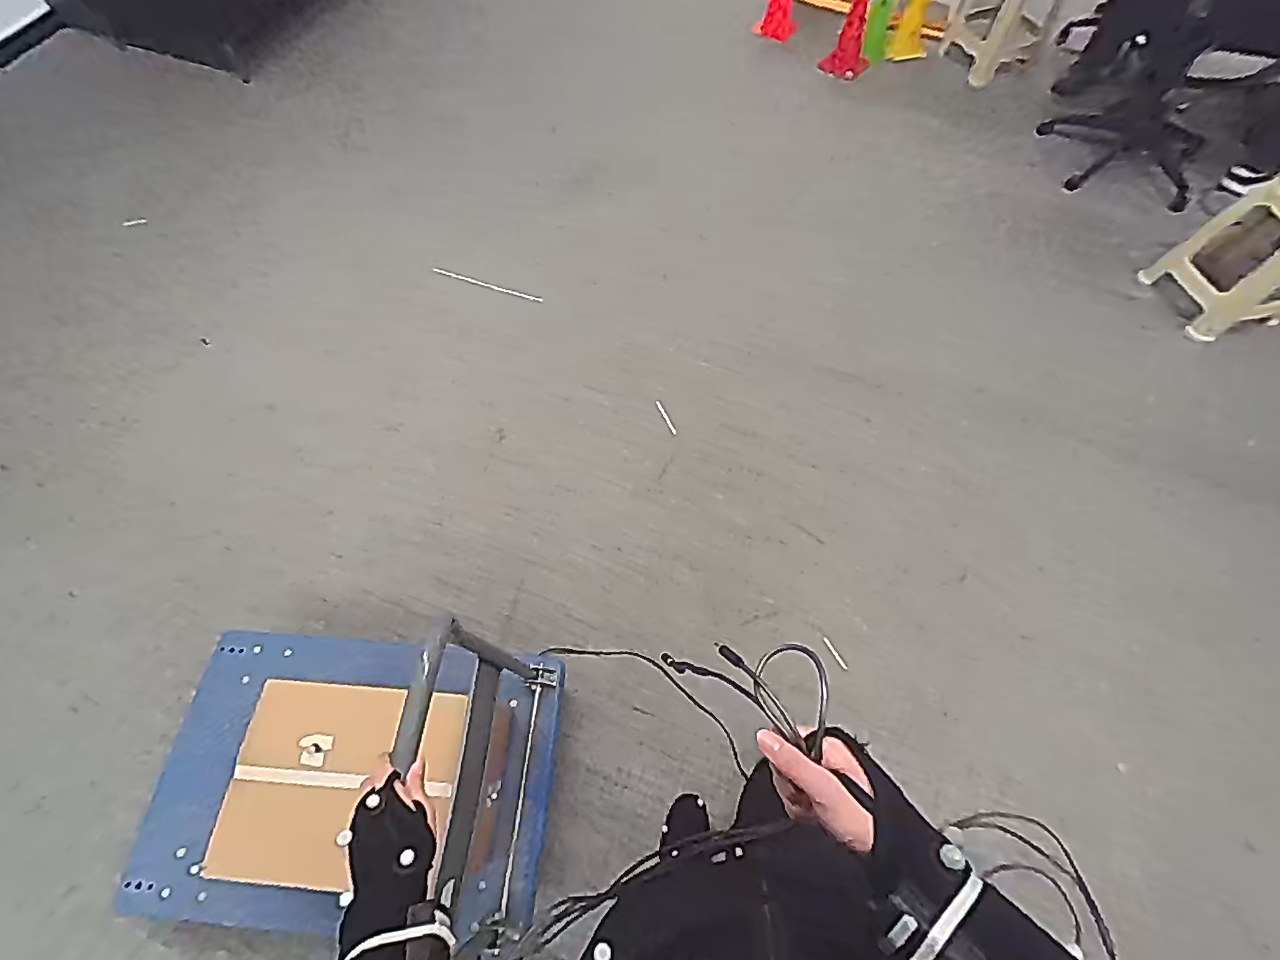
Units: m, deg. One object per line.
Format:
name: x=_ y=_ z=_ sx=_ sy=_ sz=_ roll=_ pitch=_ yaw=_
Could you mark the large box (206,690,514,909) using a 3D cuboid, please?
large box: x=-0.501 y=0.605 z=1.074 sx=0.408 sy=0.320 sz=0.320 roll=3 pitch=63 yaw=4
